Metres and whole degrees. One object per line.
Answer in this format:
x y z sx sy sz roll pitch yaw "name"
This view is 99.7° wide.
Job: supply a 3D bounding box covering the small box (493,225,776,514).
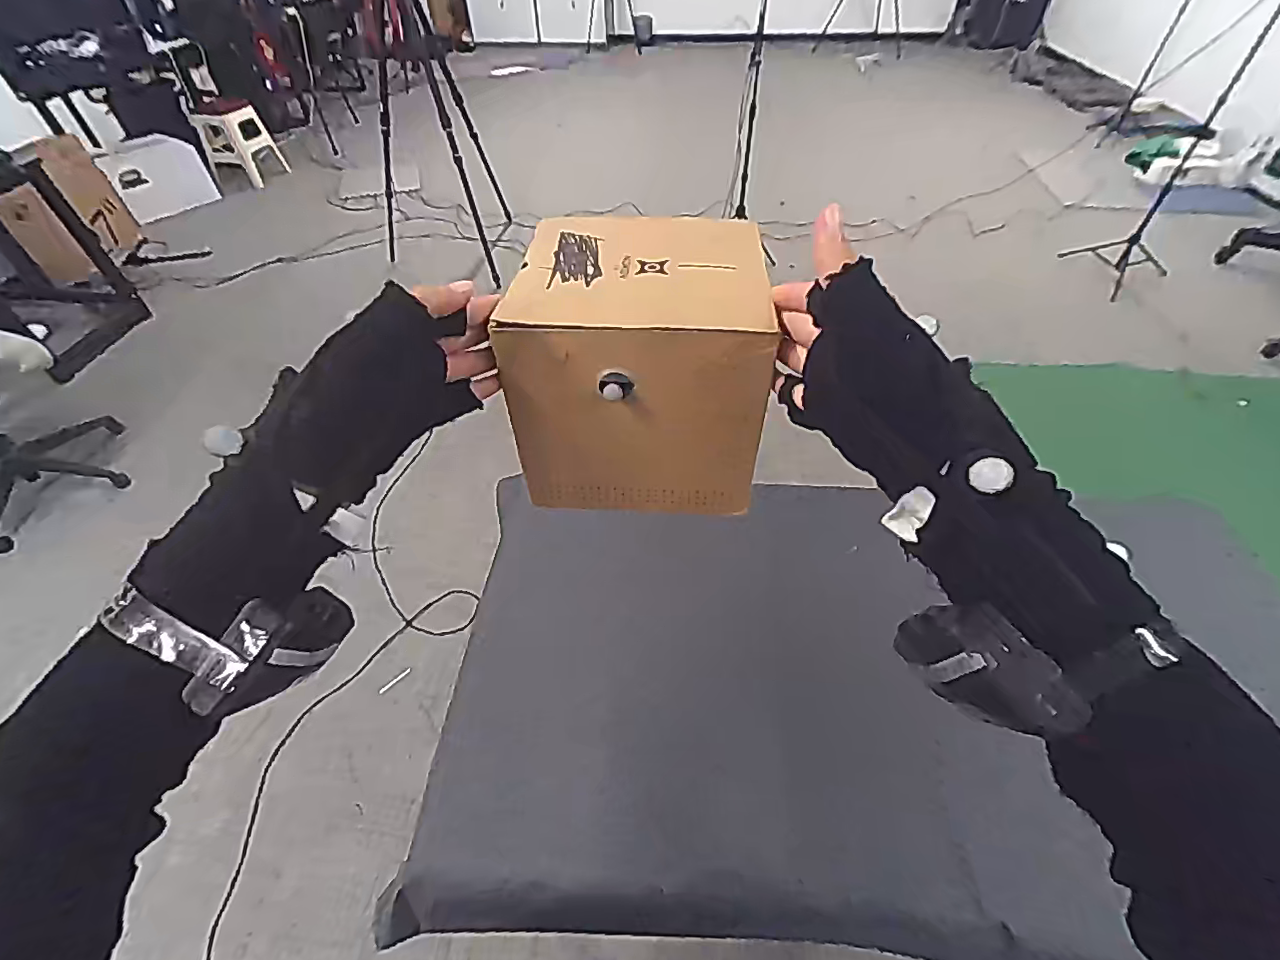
0.002 -0.087 0.436 0.179 0.176 0.168 2 47 3 "small box"
